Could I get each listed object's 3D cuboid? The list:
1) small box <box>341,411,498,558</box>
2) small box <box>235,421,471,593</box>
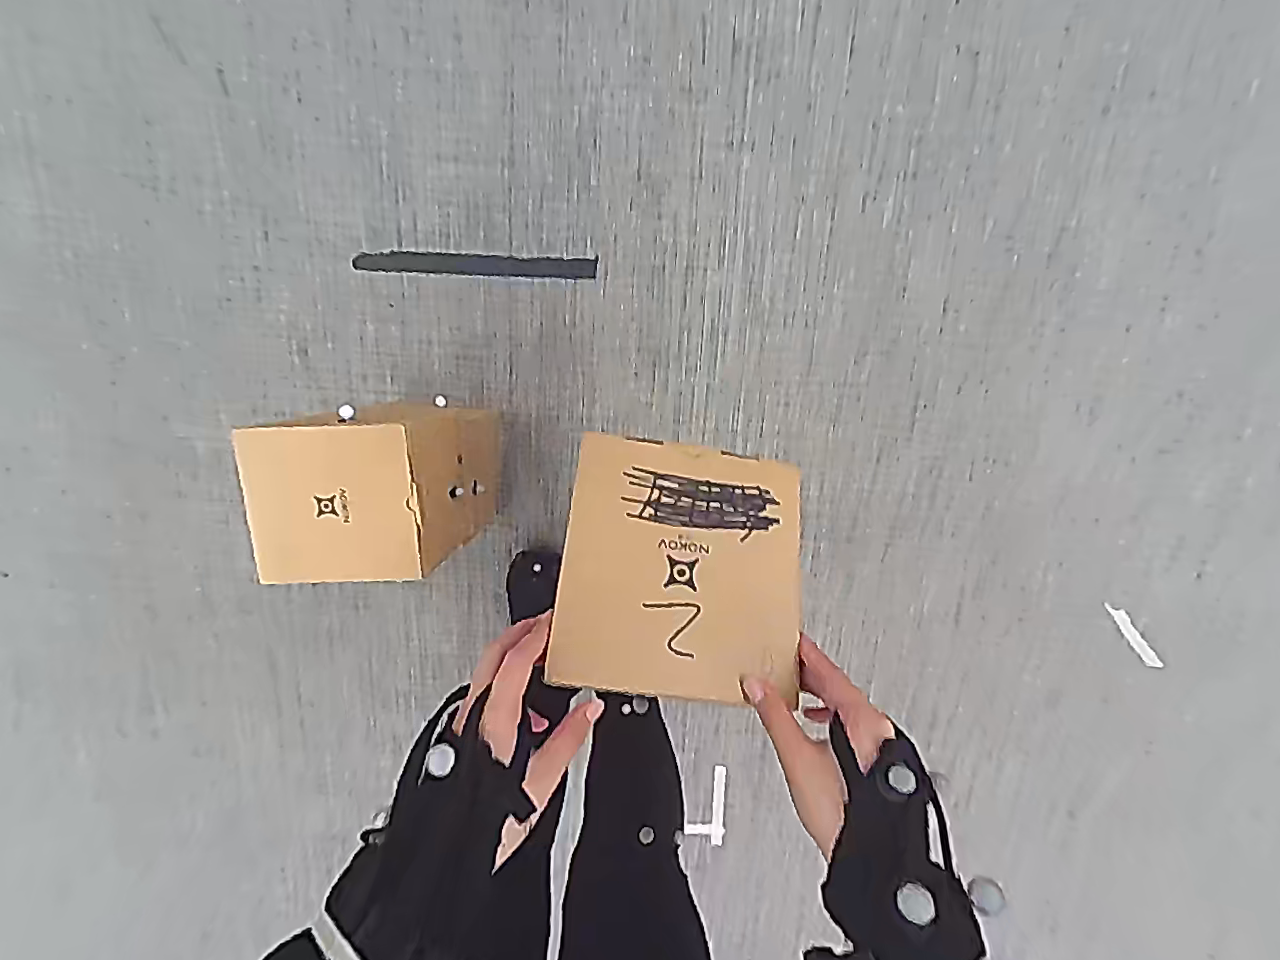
[{"bbox_3d":[-0.310,-0.001,0.789,0.168,0.176,0.179,5,101,-1],"label":"small box"},{"bbox_3d":[-0.313,0.021,0.627,0.179,0.176,0.168,-2,101,-1],"label":"small box"}]
